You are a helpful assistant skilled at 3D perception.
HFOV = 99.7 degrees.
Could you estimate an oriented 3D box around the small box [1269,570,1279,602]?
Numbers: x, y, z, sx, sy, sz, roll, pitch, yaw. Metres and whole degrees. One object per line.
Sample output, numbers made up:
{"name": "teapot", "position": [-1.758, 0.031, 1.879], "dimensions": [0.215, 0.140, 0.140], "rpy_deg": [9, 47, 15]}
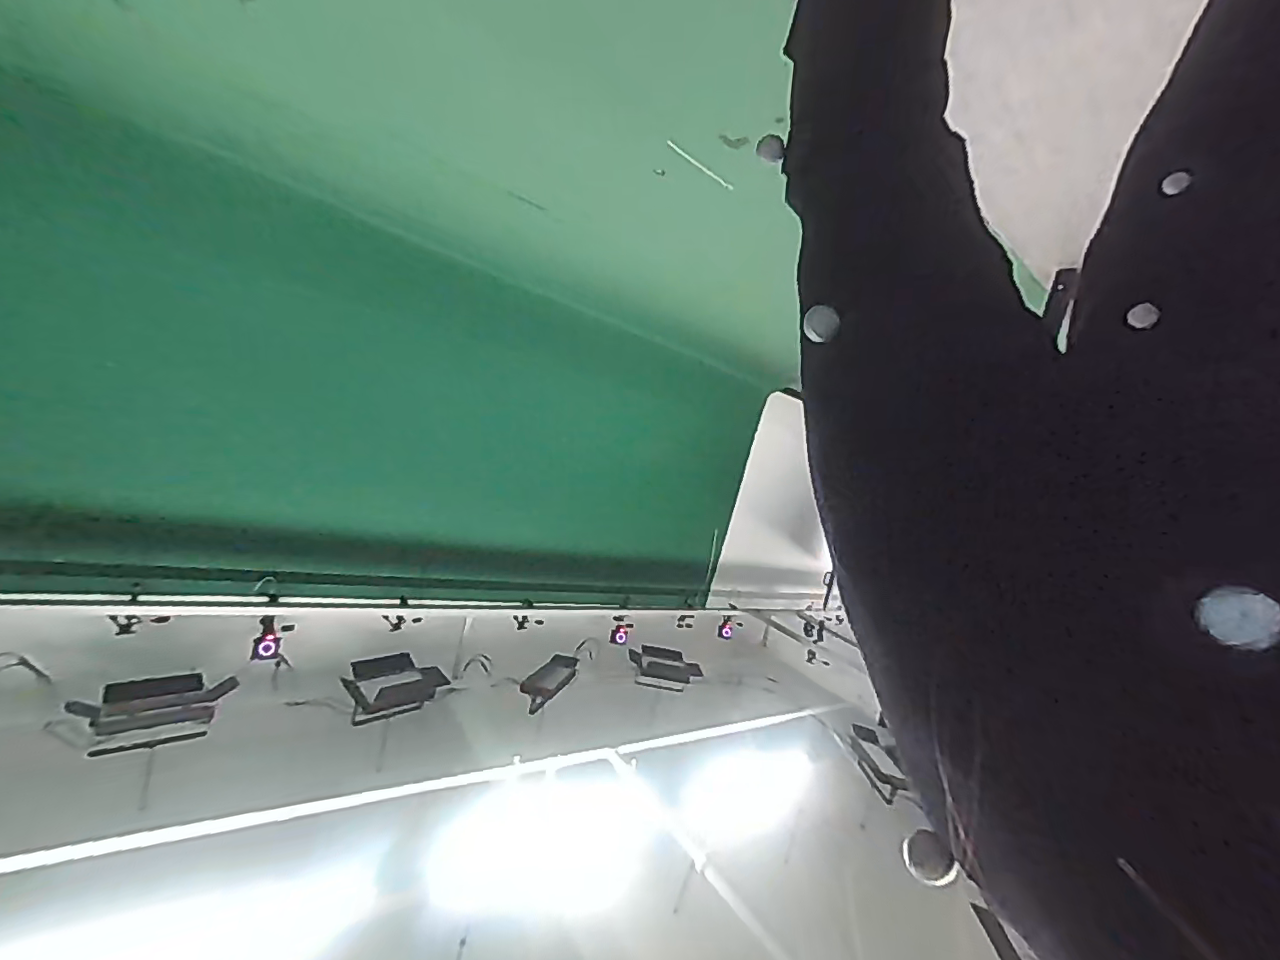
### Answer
{"name": "small box", "position": [1.764, 0.262, 1.367], "dimensions": [0.179, 0.176, 0.168], "rpy_deg": [13, -174, -28]}
